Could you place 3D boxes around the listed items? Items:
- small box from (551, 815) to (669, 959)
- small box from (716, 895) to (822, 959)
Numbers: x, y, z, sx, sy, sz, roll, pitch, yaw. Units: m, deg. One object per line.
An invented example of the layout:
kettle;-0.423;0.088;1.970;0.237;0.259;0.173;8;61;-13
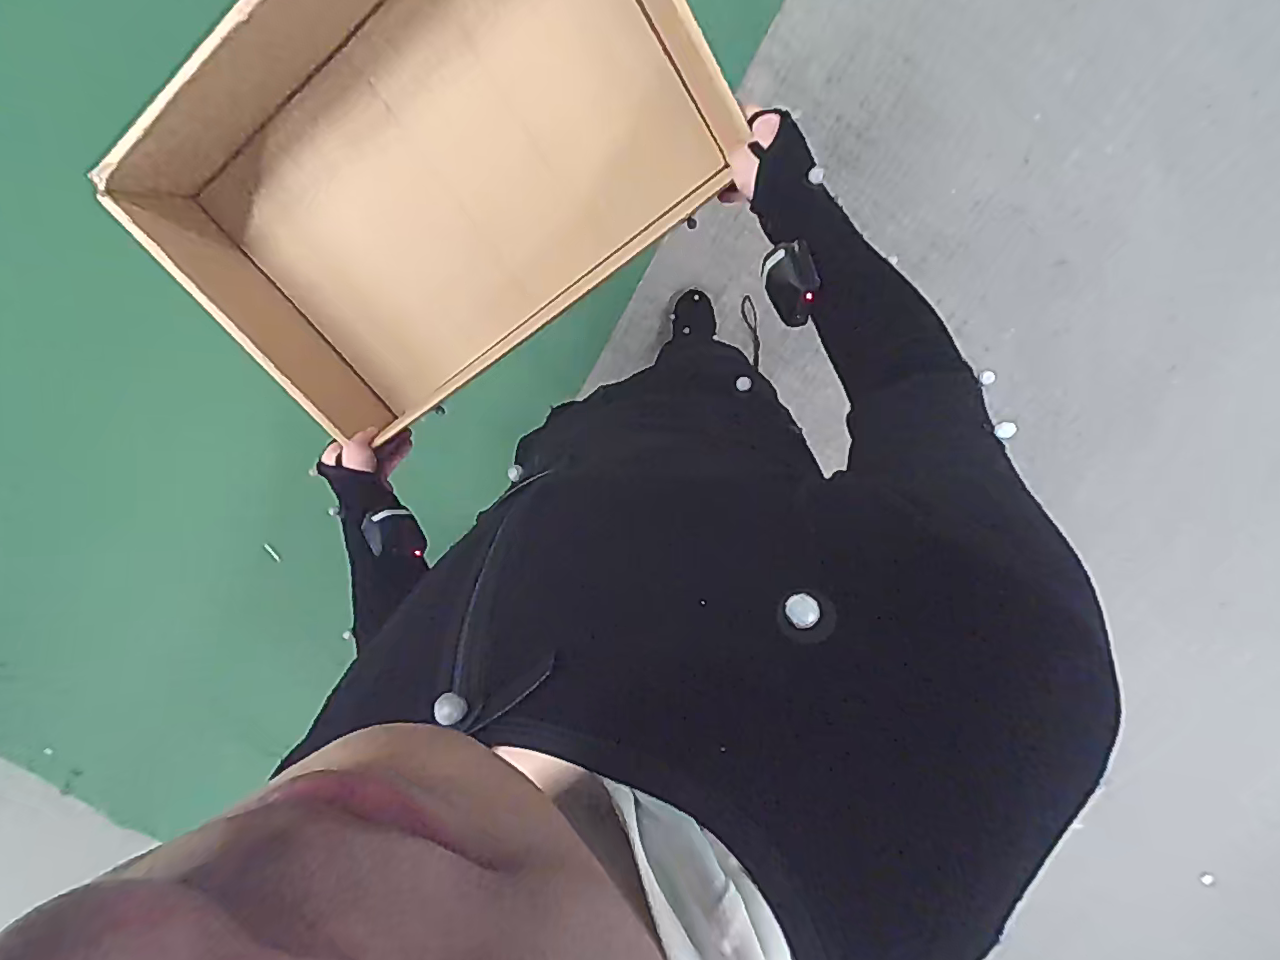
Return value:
small box;-0.052;0.831;1.091;0.168;0.176;0.179;31;110;-5
small box;0.264;1.009;1.111;0.168;0.176;0.179;29;111;-3
